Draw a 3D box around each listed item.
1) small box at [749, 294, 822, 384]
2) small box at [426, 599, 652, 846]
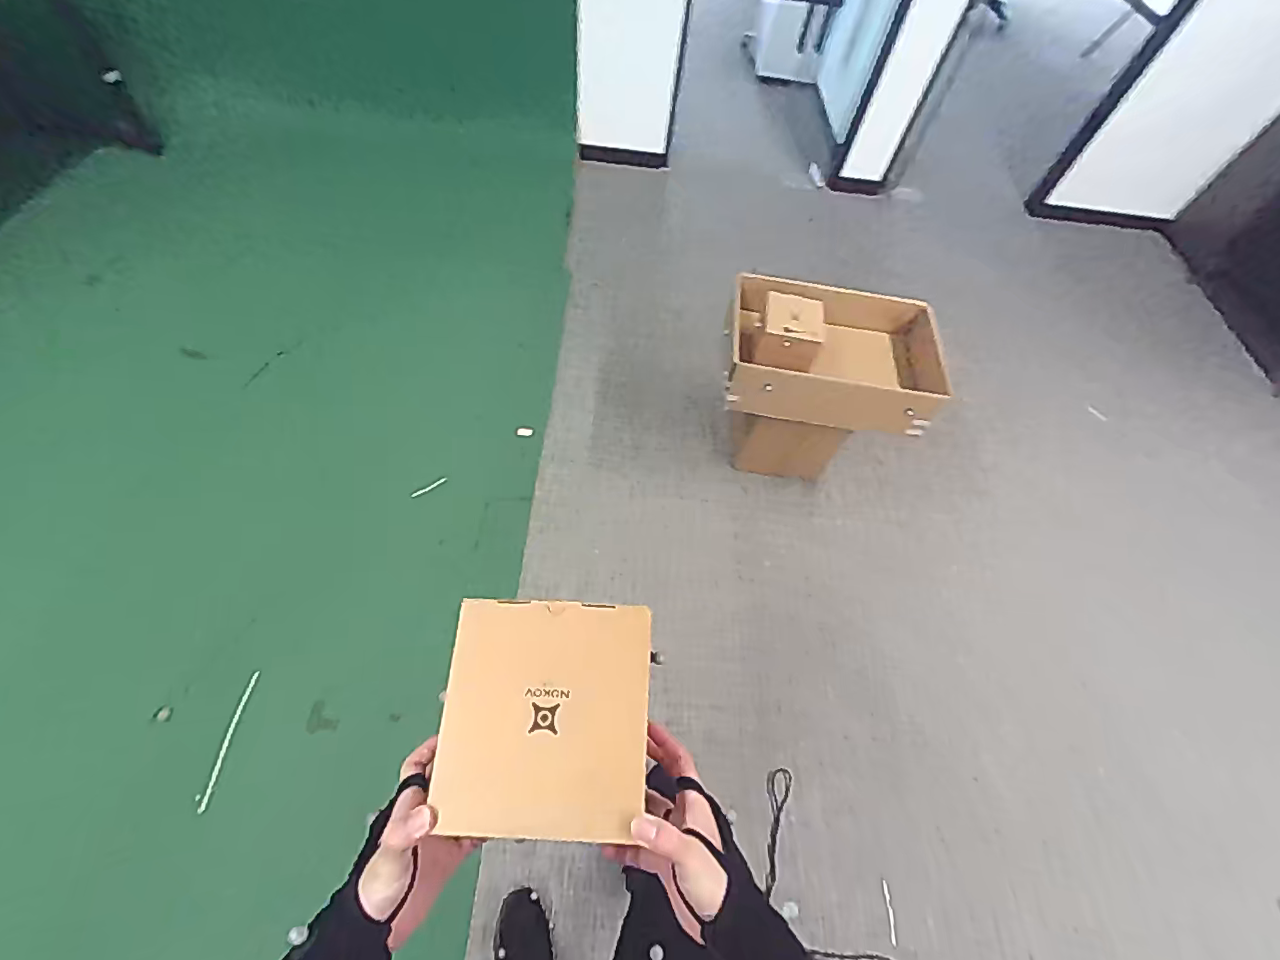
[{"bbox_3d":[0.427,-0.416,1.605,0.168,0.176,0.179,10,57,0],"label":"small box"},{"bbox_3d":[-0.074,0.220,0.508,0.168,0.176,0.179,3,65,1],"label":"small box"}]
